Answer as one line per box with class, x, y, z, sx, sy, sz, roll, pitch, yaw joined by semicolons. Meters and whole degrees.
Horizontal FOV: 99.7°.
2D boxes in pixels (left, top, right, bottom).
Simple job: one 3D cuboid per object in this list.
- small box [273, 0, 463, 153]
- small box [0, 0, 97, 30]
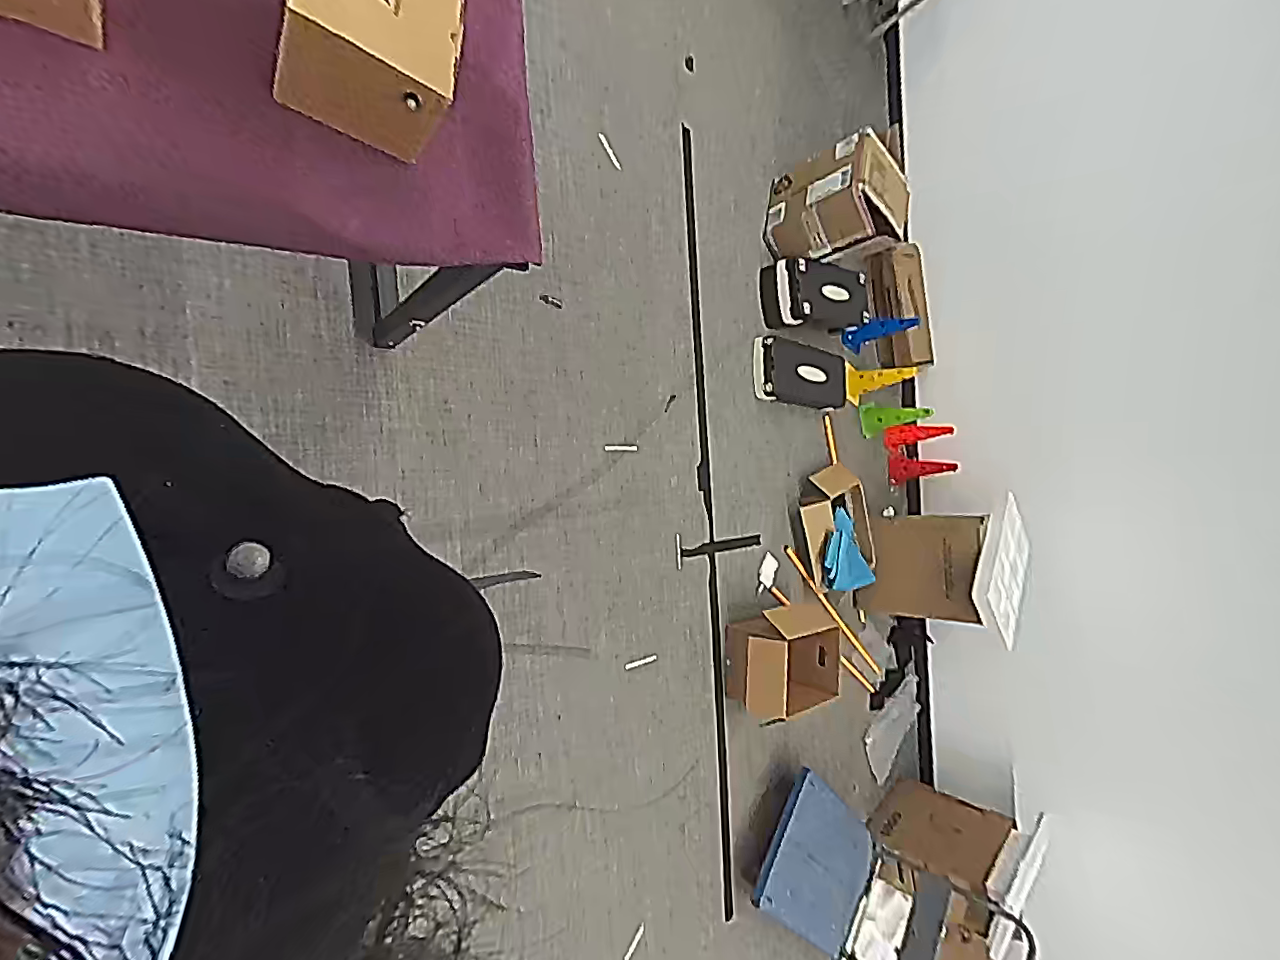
small box;-0.343;-0.557;0.680;0.179;0.176;0.168;8;83;-40
small box;-0.594;-0.547;0.464;0.179;0.176;0.168;-1;89;-41
